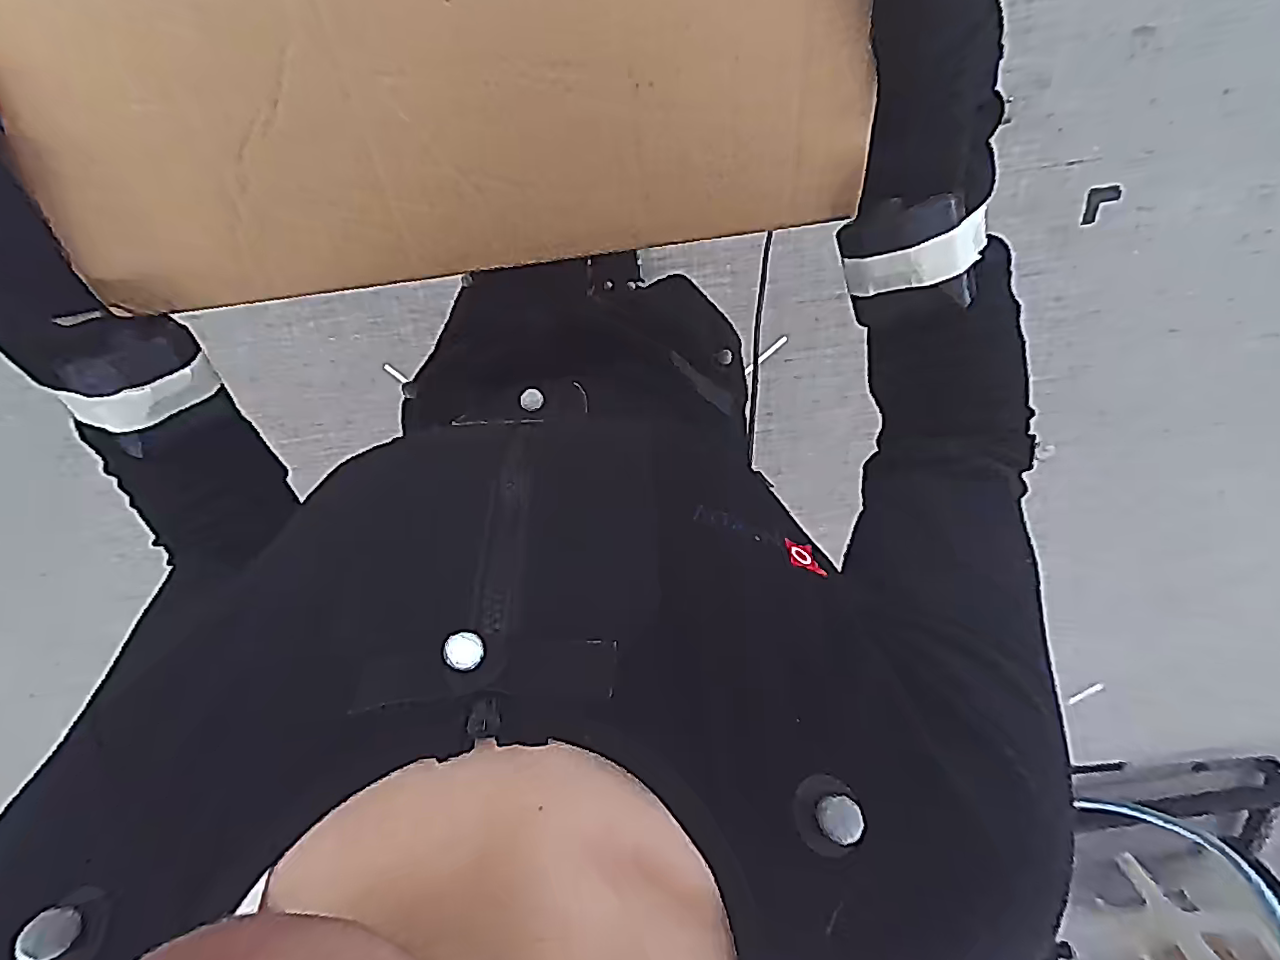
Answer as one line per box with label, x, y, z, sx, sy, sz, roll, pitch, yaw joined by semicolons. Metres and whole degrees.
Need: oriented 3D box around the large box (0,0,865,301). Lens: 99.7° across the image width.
large box;-0.115;-0.339;0.305;0.408;0.320;0.320;-8;132;0
